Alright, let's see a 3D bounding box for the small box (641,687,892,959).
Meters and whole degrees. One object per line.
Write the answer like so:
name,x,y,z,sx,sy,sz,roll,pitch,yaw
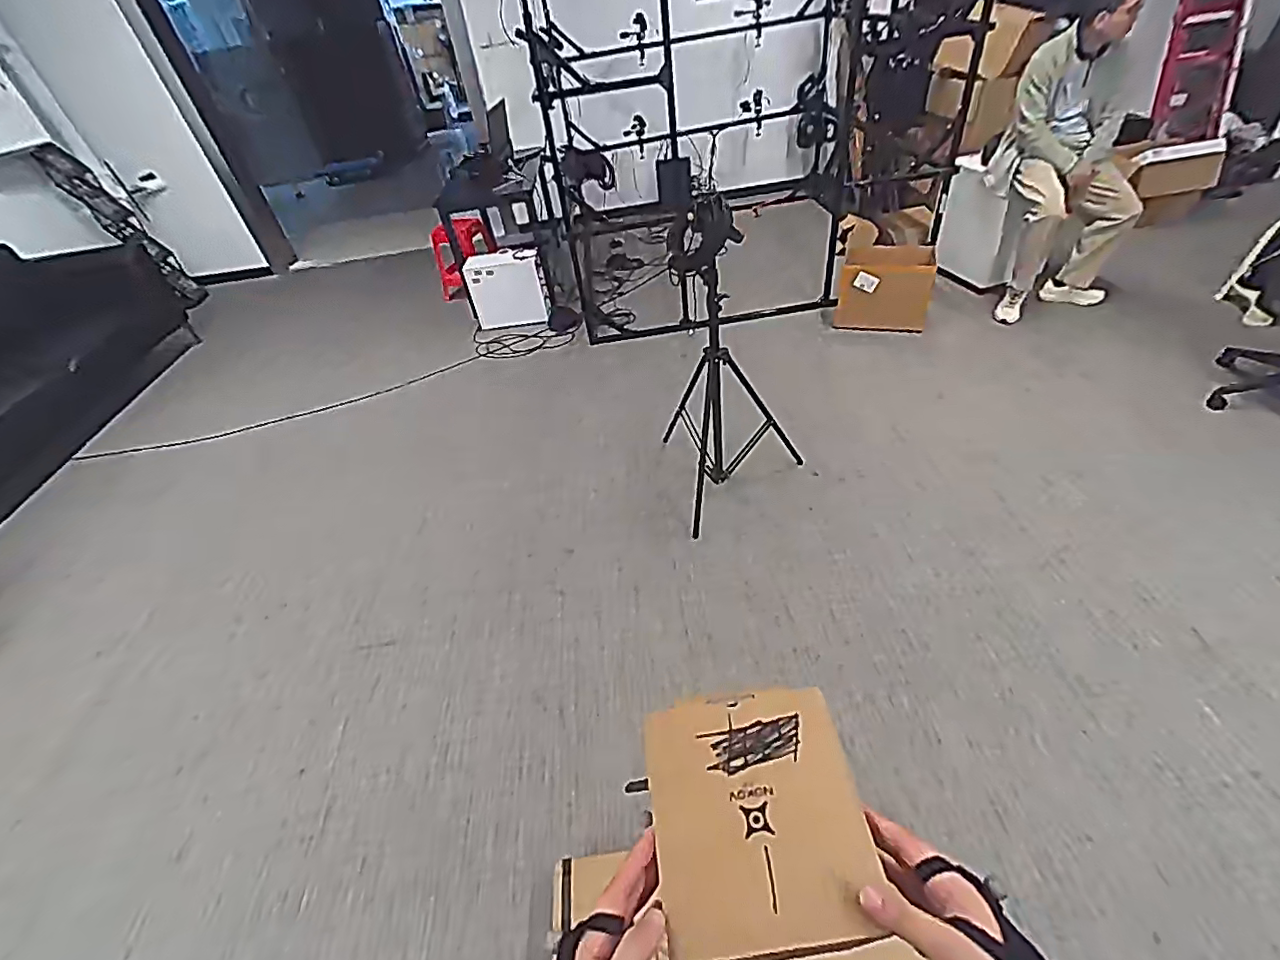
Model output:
small box,0.093,0.316,0.491,0.168,0.176,0.179,-8,46,-1
